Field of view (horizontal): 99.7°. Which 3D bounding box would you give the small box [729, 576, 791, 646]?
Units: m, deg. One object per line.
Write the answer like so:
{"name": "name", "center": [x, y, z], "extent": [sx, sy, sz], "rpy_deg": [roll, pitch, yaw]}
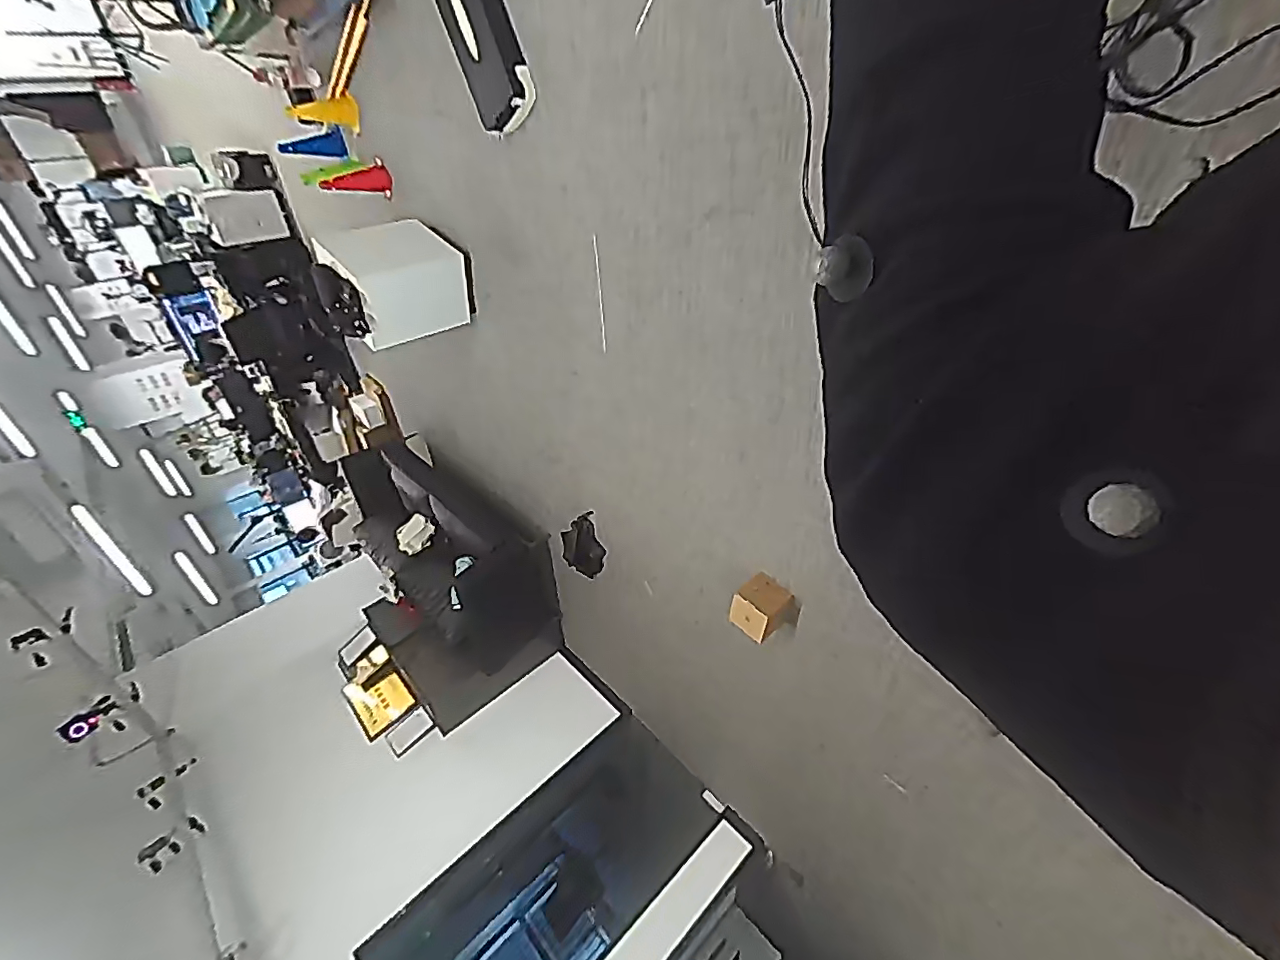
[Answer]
{"name": "small box", "center": [0.480, 0.516, 2.157], "extent": [0.168, 0.176, 0.179], "rpy_deg": [36, 141, 35]}
